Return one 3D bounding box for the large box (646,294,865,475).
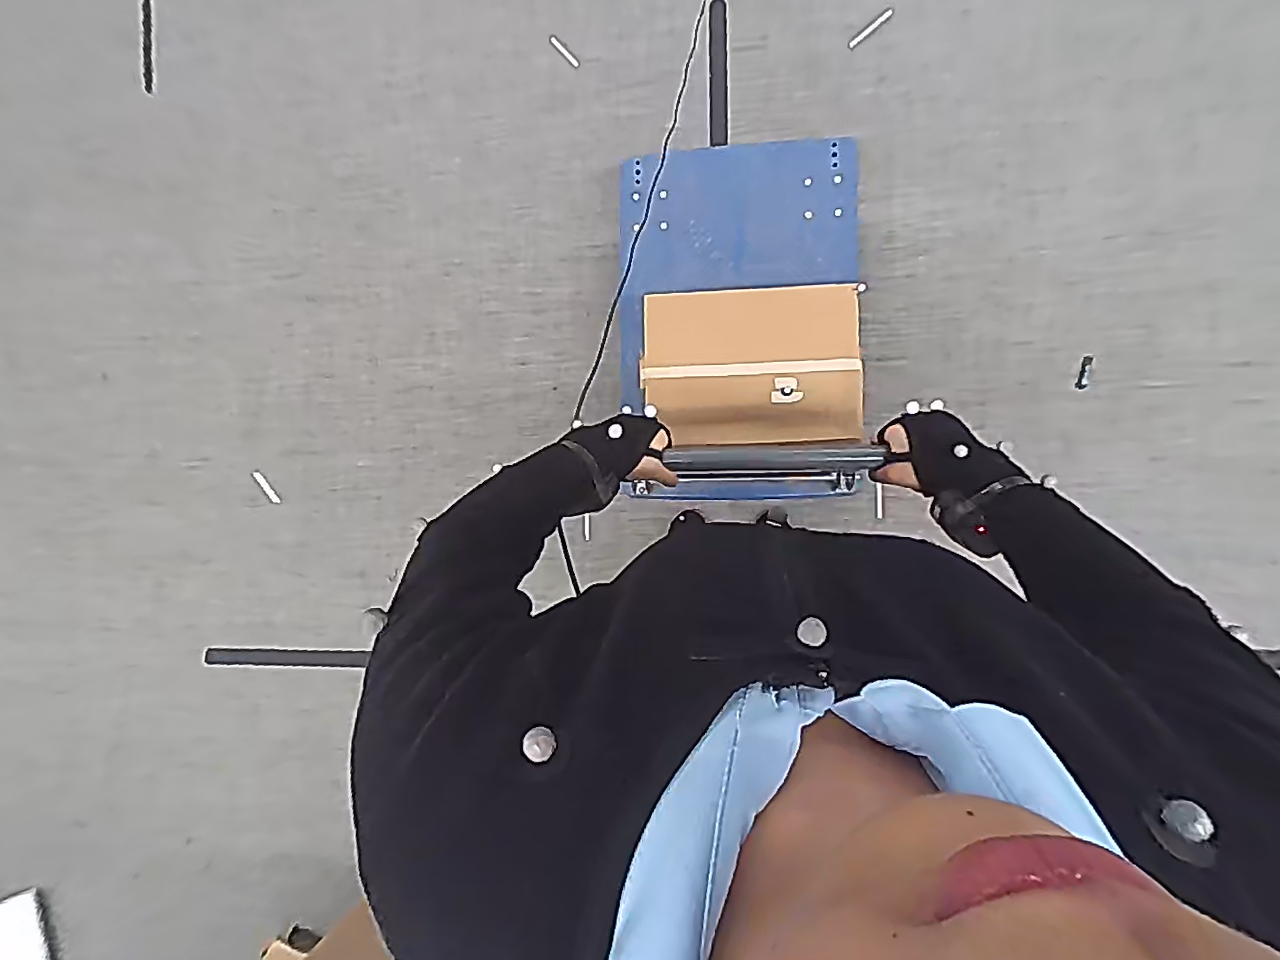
[{"bbox_3d":[0.227,-0.180,1.164,0.408,0.320,0.320,-1,88,6],"label":"large box"}]
